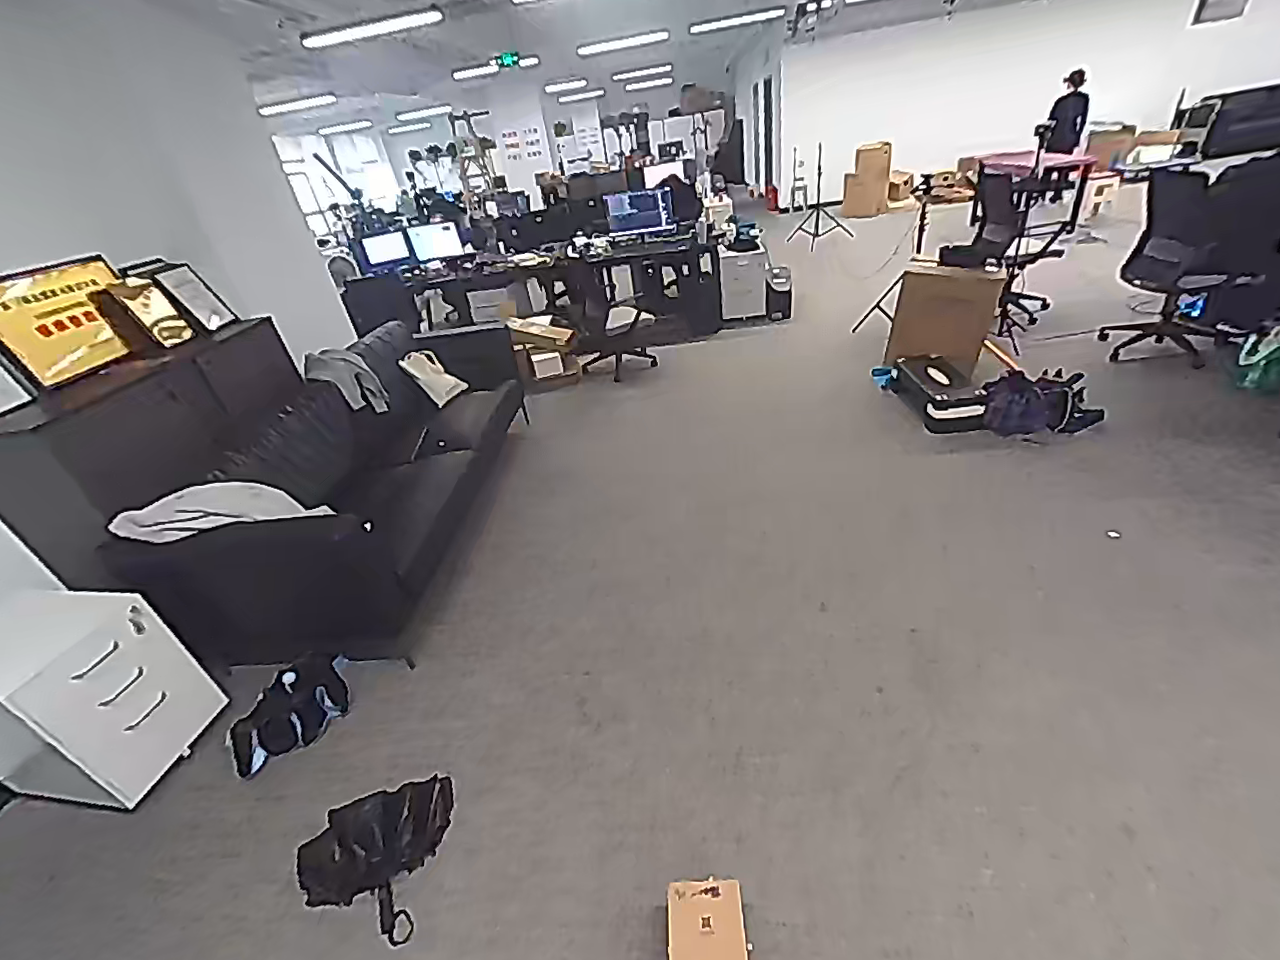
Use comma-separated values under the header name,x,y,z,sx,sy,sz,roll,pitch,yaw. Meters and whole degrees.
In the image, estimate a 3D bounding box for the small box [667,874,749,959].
name,x,y,z,sx,sy,sz,roll,pitch,yaw
small box,0.154,1.022,1.214,0.168,0.176,0.179,-7,34,6
